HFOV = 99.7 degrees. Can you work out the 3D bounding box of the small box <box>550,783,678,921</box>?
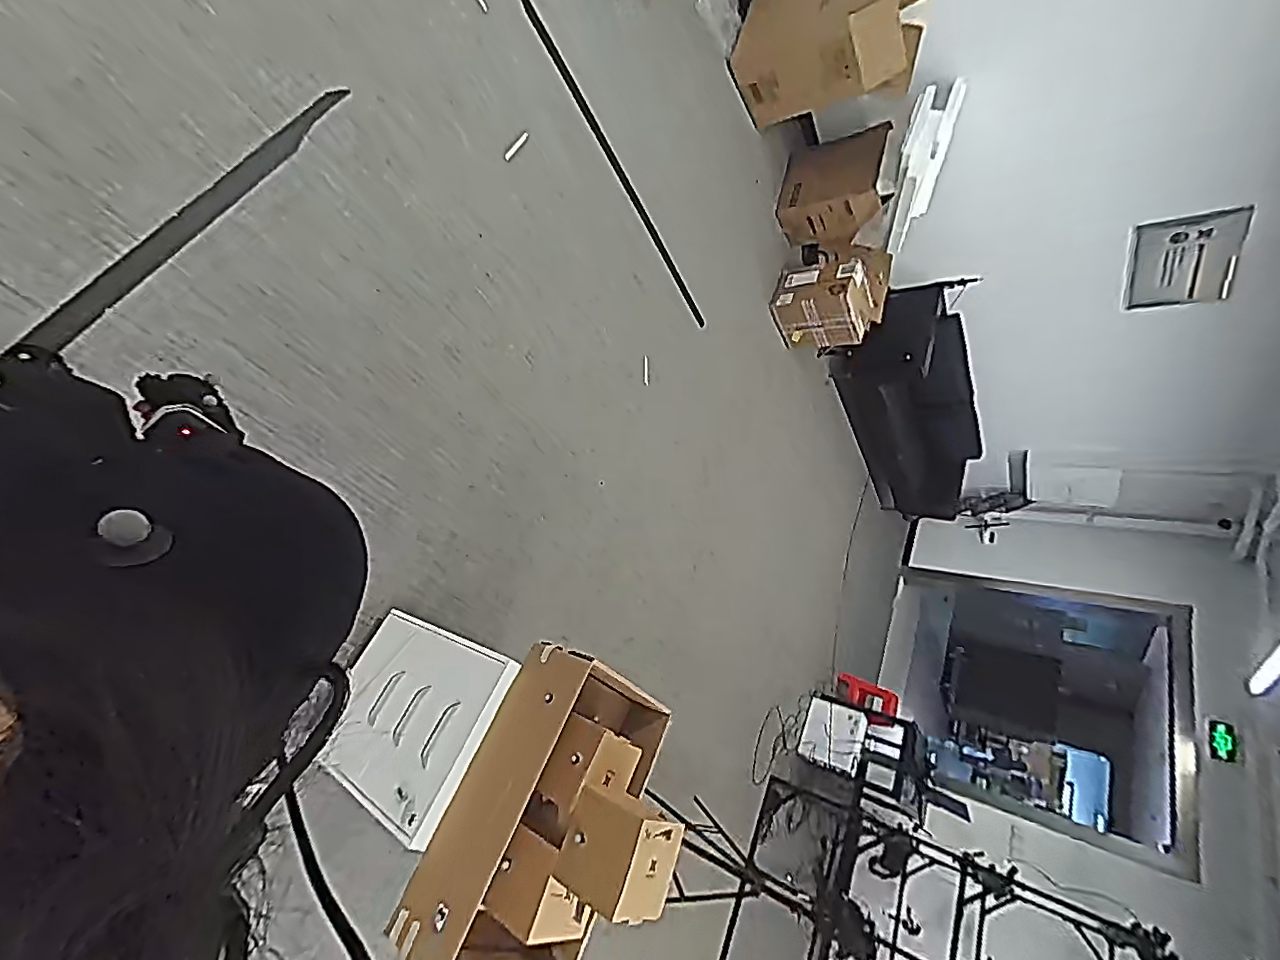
[{"bbox_3d":[-0.056,0.751,1.100,0.168,0.176,0.179,44,60,-43],"label":"small box"}]
